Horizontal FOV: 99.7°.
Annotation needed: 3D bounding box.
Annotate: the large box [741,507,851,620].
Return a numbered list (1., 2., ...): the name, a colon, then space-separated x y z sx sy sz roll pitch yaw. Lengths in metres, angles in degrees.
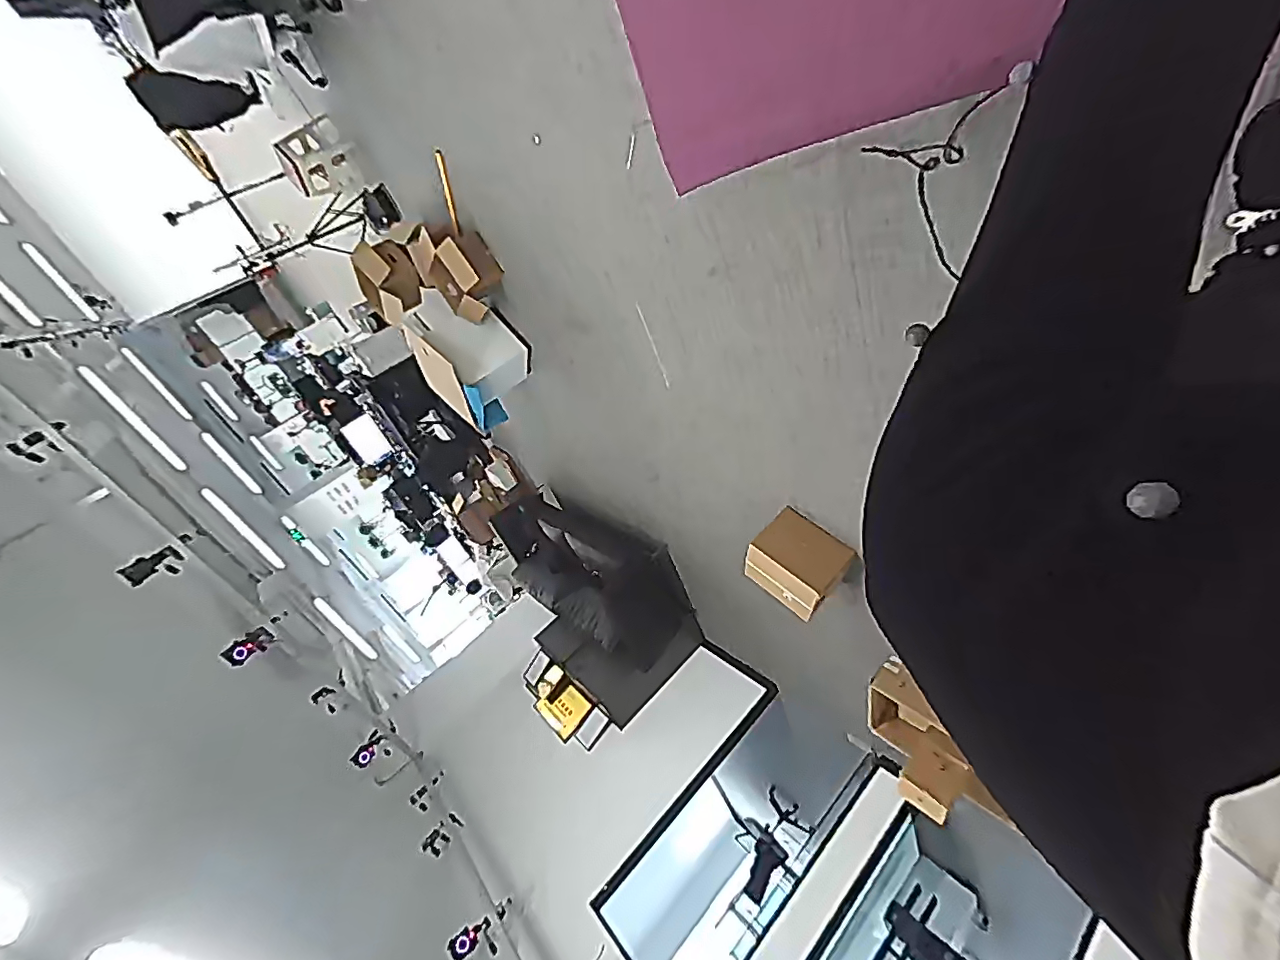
1. large box: 0.771 0.412 2.714 0.408 0.320 0.320 36 153 28

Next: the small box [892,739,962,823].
1. small box: 1.035 1.080 1.947 0.168 0.176 0.179 27 146 41
